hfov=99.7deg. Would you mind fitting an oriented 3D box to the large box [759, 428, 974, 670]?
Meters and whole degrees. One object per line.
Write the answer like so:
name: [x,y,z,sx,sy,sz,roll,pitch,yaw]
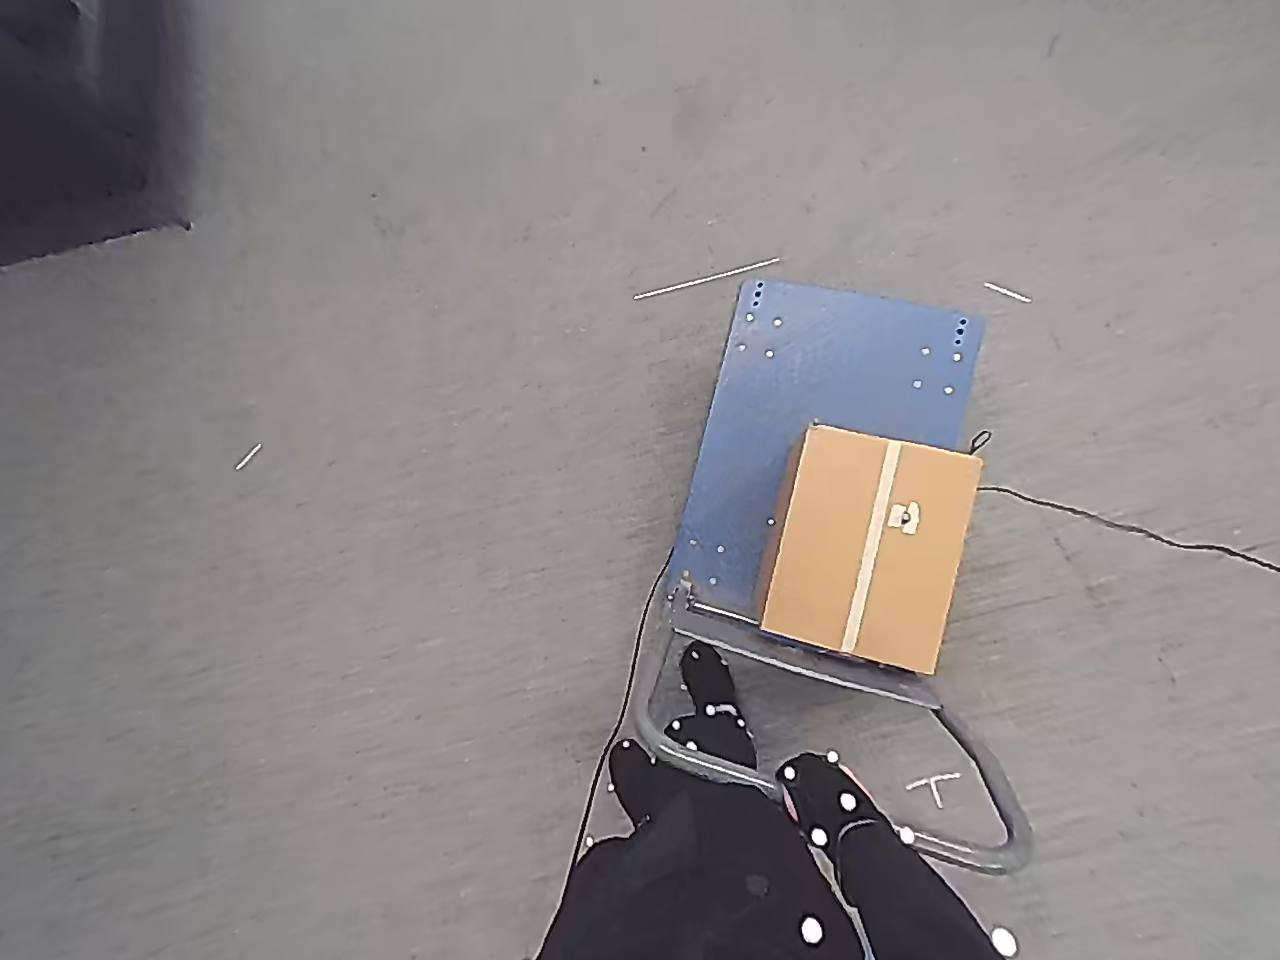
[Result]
large box: [0.448,0.134,1.153,0.320,0.320,0.408,13,88,9]
